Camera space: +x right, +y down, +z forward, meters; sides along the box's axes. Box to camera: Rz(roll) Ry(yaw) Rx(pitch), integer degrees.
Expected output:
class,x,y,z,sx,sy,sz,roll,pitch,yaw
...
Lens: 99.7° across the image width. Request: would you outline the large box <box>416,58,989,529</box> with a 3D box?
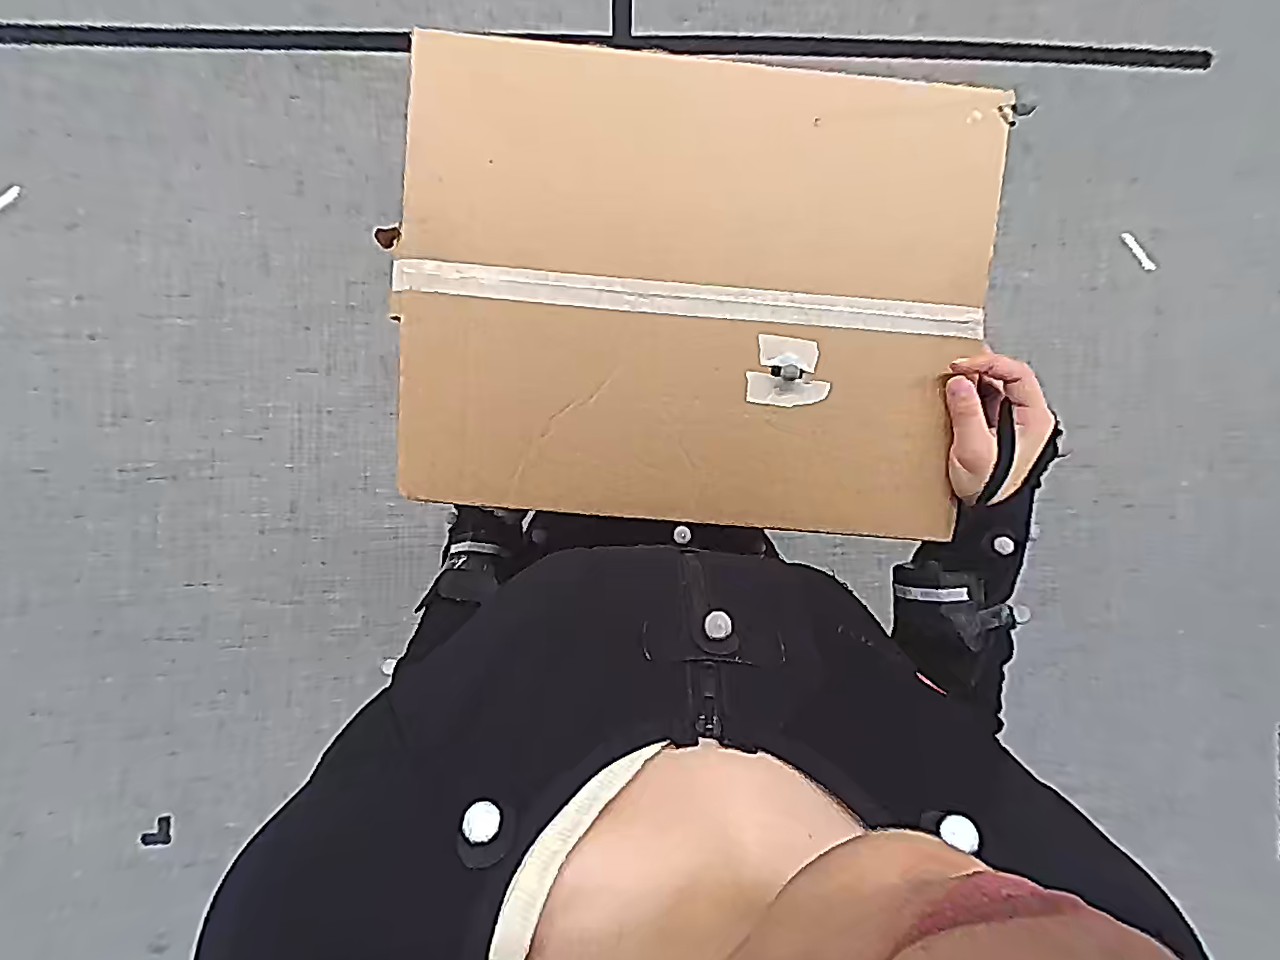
class,x,y,z,sx,sy,sz,roll,pitch,yaw
large box,0.035,-0.138,0.535,0.408,0.320,0.320,4,96,-3
